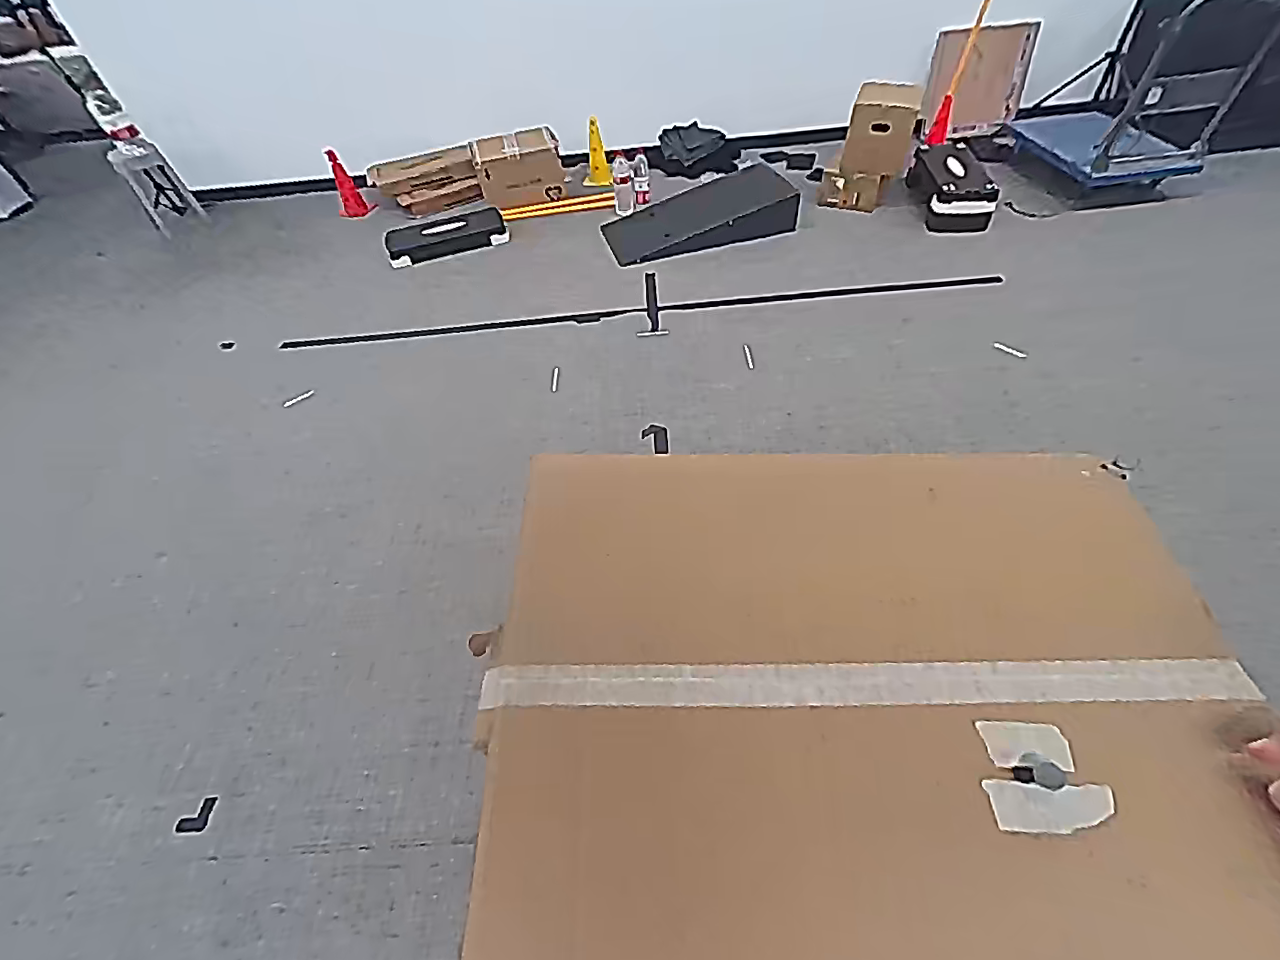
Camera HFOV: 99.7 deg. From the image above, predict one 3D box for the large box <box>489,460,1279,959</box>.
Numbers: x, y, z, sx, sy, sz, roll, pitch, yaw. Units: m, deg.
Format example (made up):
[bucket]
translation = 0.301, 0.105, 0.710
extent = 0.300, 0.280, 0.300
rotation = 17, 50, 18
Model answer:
[large box]
translation = 0.126, 0.197, 0.426
extent = 0.408, 0.320, 0.320
rotation = 0, 56, -1
